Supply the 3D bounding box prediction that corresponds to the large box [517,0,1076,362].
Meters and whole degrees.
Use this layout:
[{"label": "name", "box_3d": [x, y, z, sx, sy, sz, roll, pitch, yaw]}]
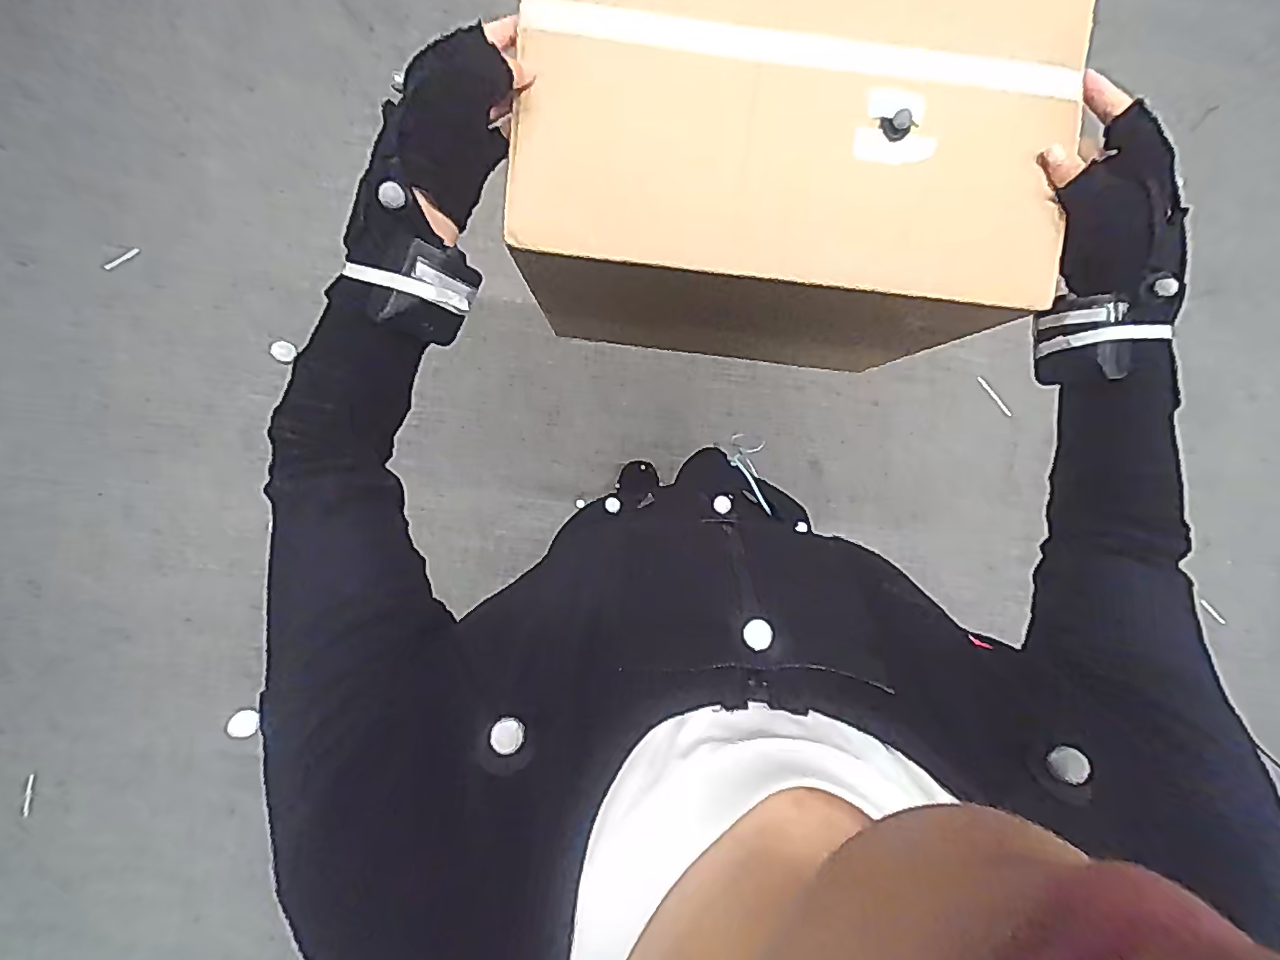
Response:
[{"label": "large box", "box_3d": [0.111, -0.314, 0.545, 0.408, 0.320, 0.320, 6, 93, -2]}]
